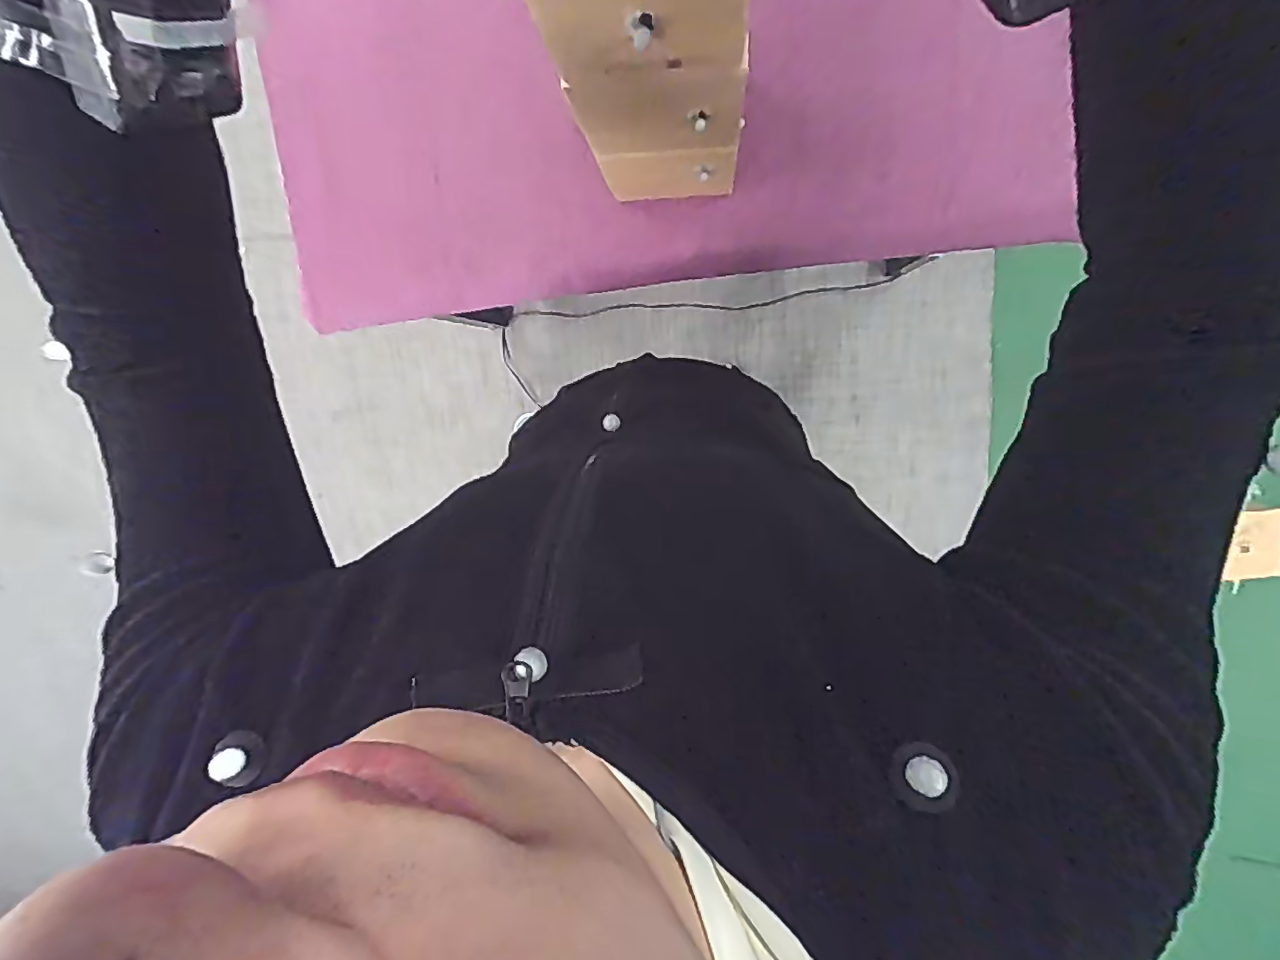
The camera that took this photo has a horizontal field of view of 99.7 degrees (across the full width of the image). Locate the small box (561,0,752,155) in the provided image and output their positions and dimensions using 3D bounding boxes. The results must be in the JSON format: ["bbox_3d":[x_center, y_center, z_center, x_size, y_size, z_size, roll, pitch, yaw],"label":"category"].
[{"bbox_3d":[0.021,-0.462,0.561,0.179,0.176,0.168,0,100,8],"label":"small box"}]

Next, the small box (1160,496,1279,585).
[{"bbox_3d":[1.494,0.151,1.390,0.168,0.176,0.179,-7,100,9],"label":"small box"}]

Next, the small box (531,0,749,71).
[{"bbox_3d":[0.000,-0.440,0.401,0.168,0.176,0.179,0,101,7],"label":"small box"}]
